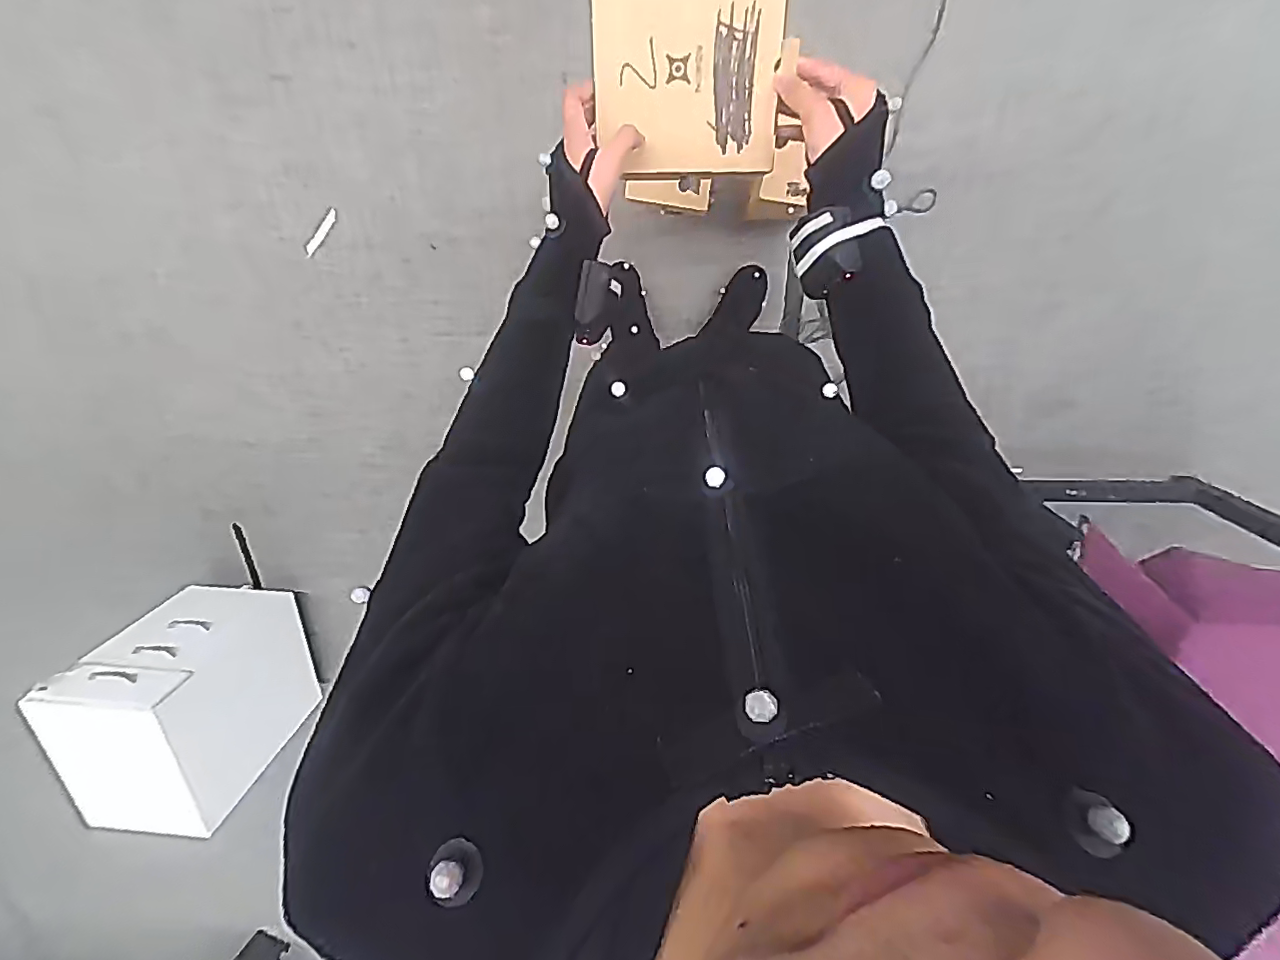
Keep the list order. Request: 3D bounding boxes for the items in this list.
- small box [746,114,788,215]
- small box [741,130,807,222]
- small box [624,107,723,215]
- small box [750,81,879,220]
[{"bbox_3d":[0.323,-0.658,1.145,0.179,0.176,0.168,4,113,4],"label":"small box"},{"bbox_3d":[0.335,-0.721,1.293,0.168,0.176,0.179,2,113,5],"label":"small box"},{"bbox_3d":[0.071,-0.671,1.156,0.179,0.176,0.168,10,113,1],"label":"small box"},{"bbox_3d":[0.307,-0.593,0.995,0.168,0.176,0.179,10,112,1],"label":"small box"}]
